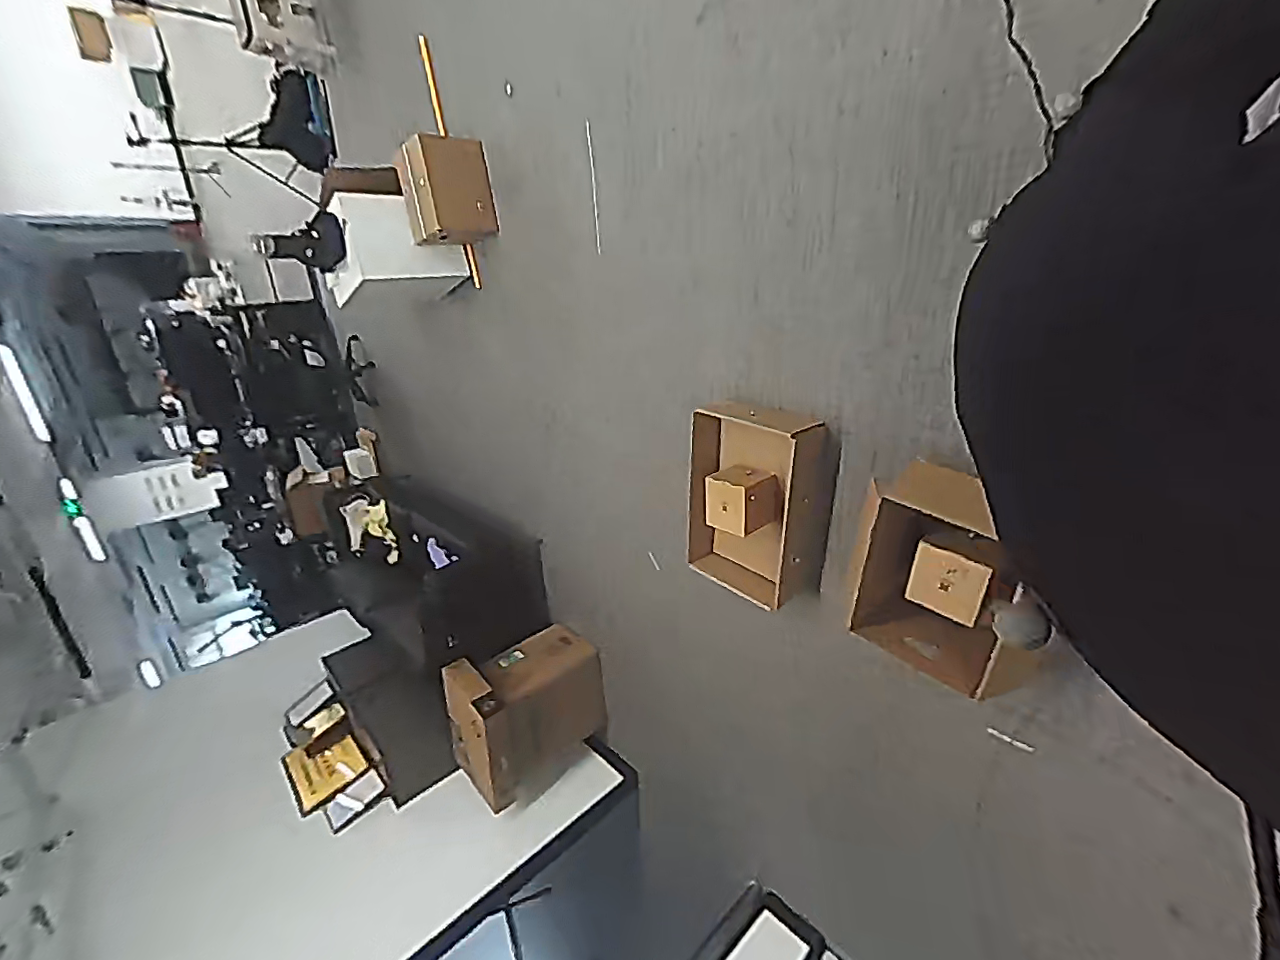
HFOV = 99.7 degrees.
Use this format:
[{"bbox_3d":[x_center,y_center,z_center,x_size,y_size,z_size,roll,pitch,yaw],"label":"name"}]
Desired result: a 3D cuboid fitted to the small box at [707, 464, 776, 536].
[{"bbox_3d":[0.341,0.060,1.810,0.168,0.176,0.179,18,119,45],"label":"small box"}]
